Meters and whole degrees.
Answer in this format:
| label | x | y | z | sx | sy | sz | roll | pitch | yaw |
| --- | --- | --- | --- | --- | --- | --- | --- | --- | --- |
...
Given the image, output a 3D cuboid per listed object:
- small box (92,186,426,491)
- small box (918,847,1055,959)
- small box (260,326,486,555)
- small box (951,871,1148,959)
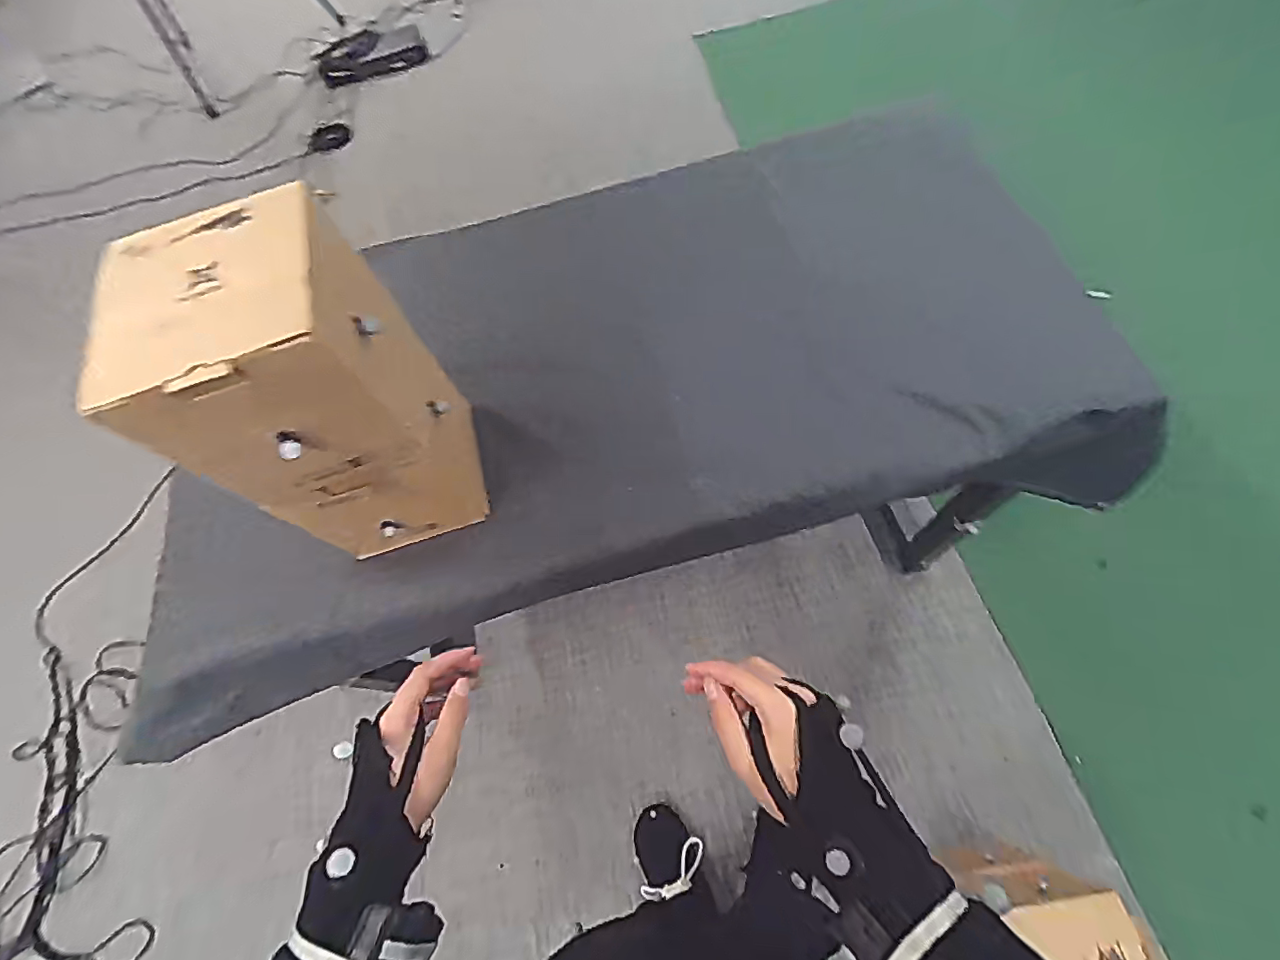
| label | x | y | z | sx | sy | sz | roll | pitch | yaw |
| --- | --- | --- | --- | --- | --- | --- | --- | --- | --- |
| small box | -0.308 | -0.107 | 0.473 | 0.168 | 0.176 | 0.179 | -19 | 64 | -2 |
| small box | 0.614 | 0.749 | 0.926 | 0.179 | 0.176 | 0.168 | -12 | 63 | 4 |
| small box | -0.294 | -0.037 | 0.620 | 0.168 | 0.176 | 0.179 | -18 | 64 | -1 |
| small box | 0.591 | 0.685 | 0.776 | 0.179 | 0.176 | 0.168 | -12 | 62 | 3 |
